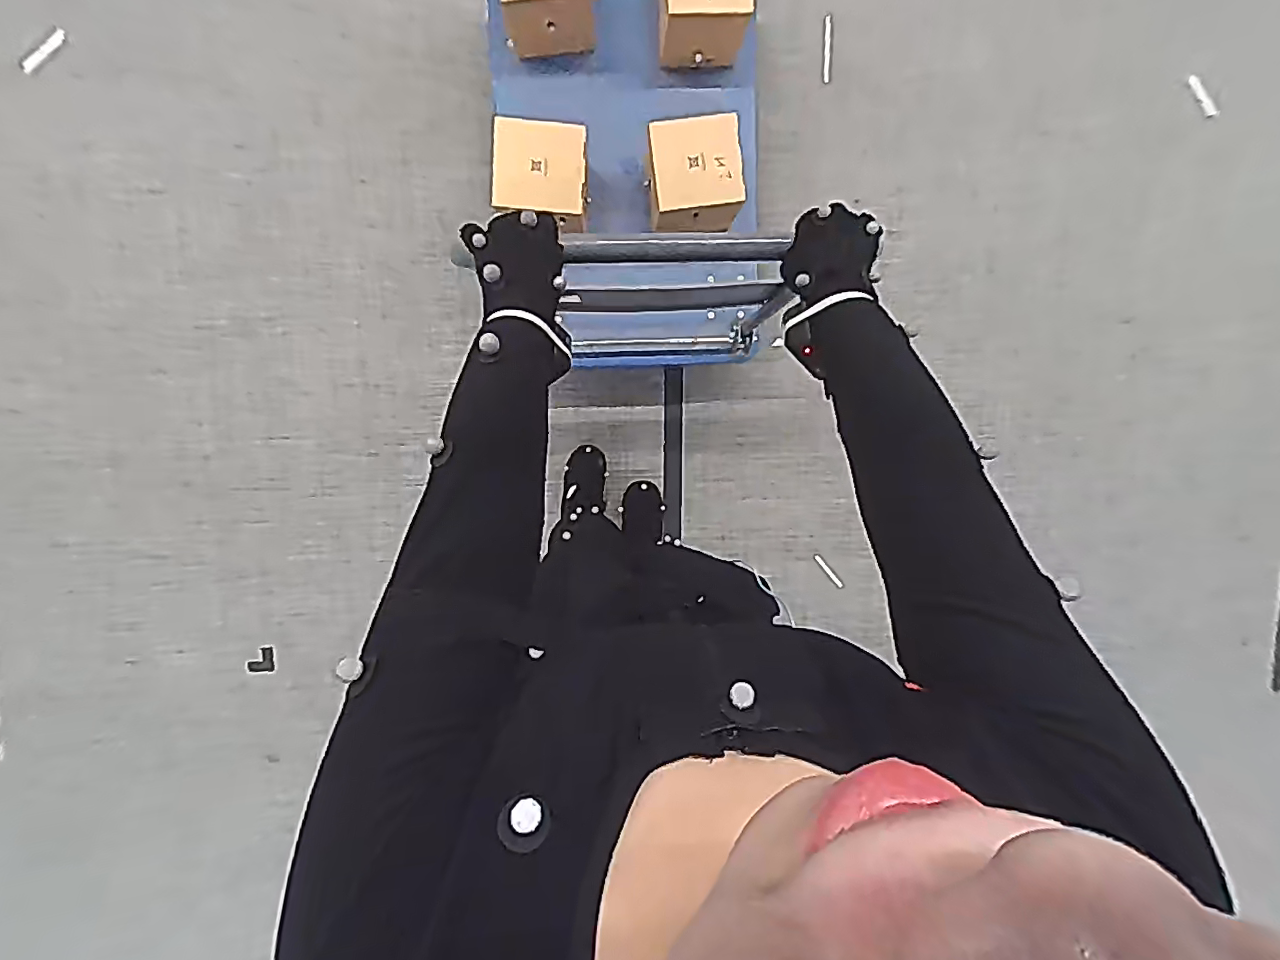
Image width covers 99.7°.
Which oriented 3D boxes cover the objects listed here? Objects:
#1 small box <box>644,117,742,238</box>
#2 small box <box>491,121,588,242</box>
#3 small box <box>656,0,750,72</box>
[{"bbox_3d":[0.104,-0.625,1.138,0.179,0.176,0.168,-8,98,-2],"label":"small box"},{"bbox_3d":[-0.202,-0.609,1.124,0.179,0.176,0.168,3,96,-5],"label":"small box"},{"bbox_3d":[0.122,-0.975,1.096,0.168,0.176,0.179,-3,98,-3],"label":"small box"}]
